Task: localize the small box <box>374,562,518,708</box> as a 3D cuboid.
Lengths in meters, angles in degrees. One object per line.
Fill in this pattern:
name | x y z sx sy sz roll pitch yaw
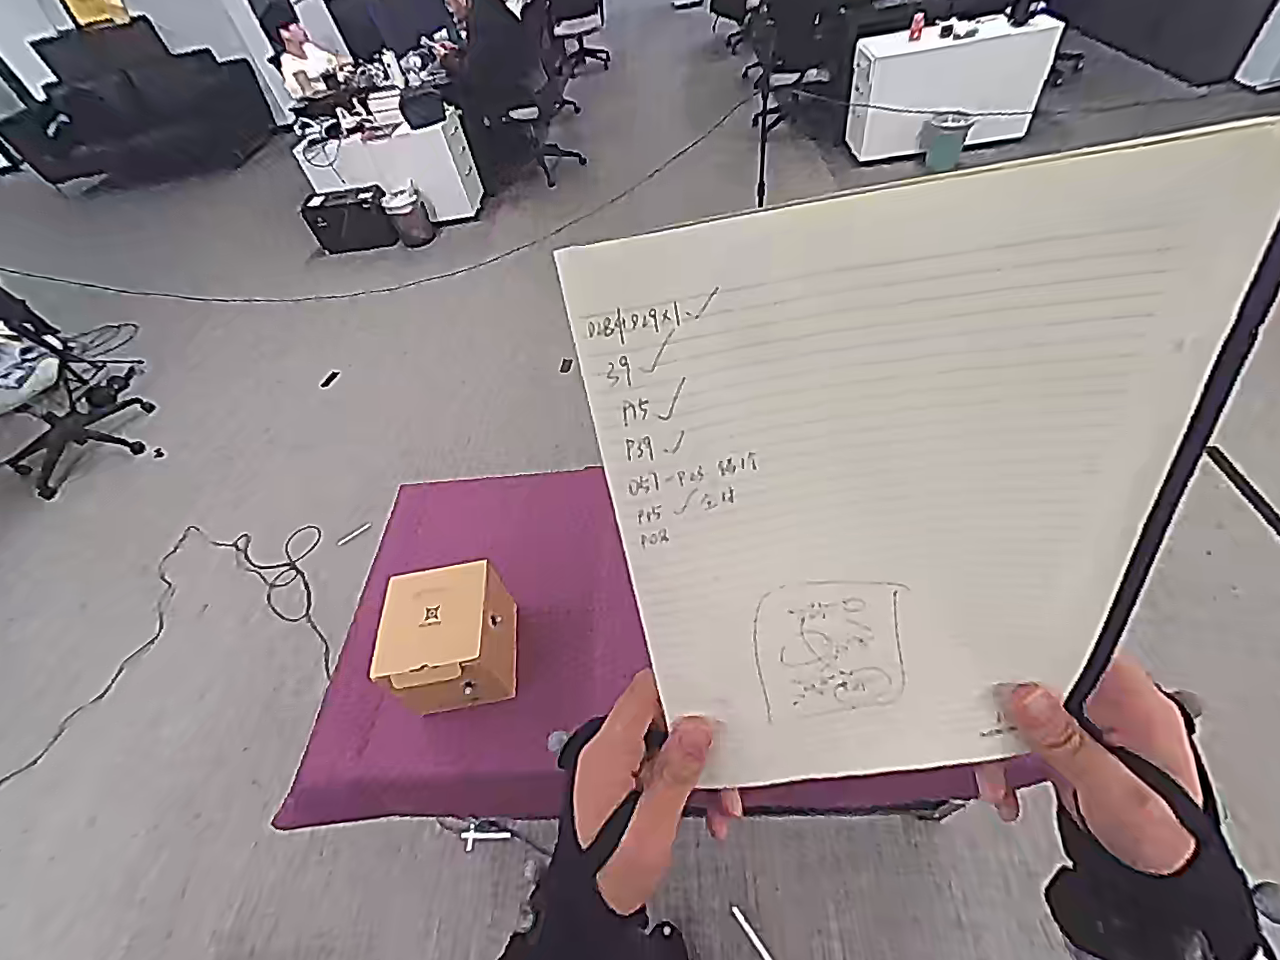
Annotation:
small box | -0.306 0.263 0.897 0.168 0.176 0.179 -10 49 1
